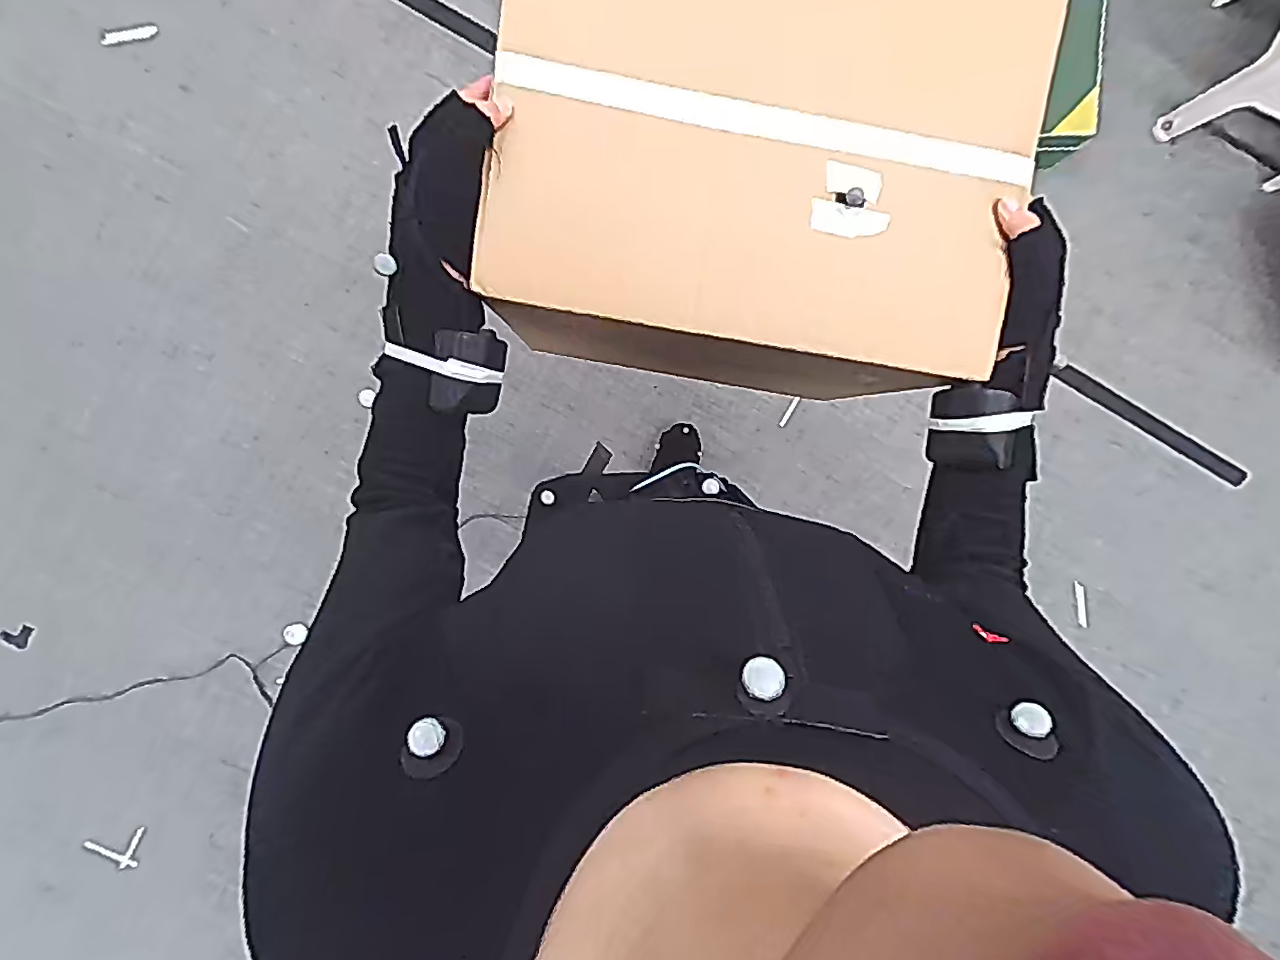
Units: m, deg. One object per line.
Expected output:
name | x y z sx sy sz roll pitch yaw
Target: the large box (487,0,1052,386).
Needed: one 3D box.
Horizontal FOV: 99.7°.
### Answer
large box | 0.088 -0.286 0.554 0.408 0.320 0.320 9 97 -5
